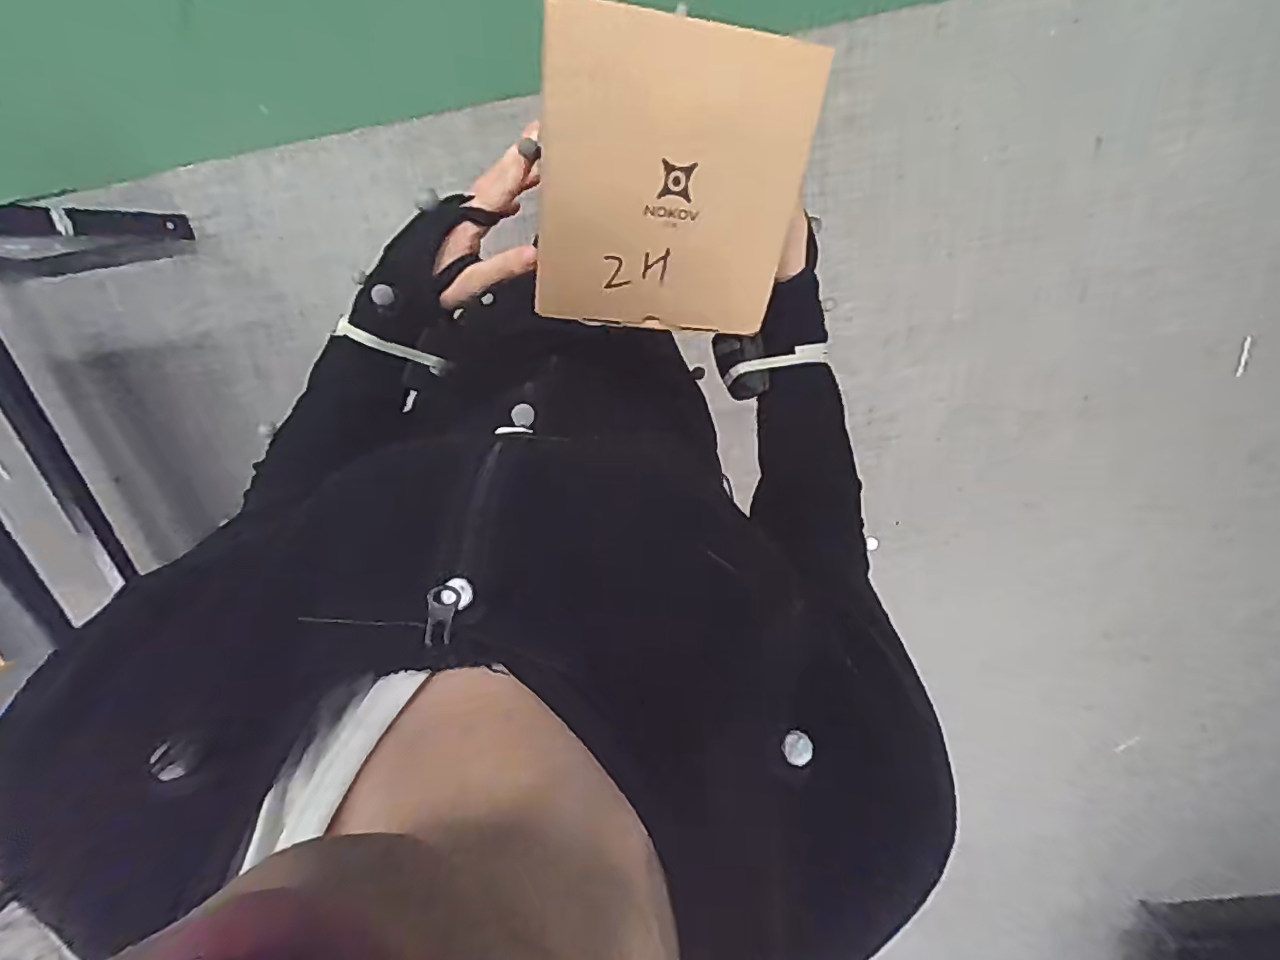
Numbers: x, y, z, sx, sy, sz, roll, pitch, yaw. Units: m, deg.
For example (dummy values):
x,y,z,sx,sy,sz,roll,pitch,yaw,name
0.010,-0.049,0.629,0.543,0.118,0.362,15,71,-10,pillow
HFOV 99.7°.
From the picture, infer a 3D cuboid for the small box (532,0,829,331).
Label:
x,y,z,sx,sy,sz,roll,pitch,yaw,name
0.006,-0.230,0.404,0.168,0.176,0.179,2,125,-11,small box
